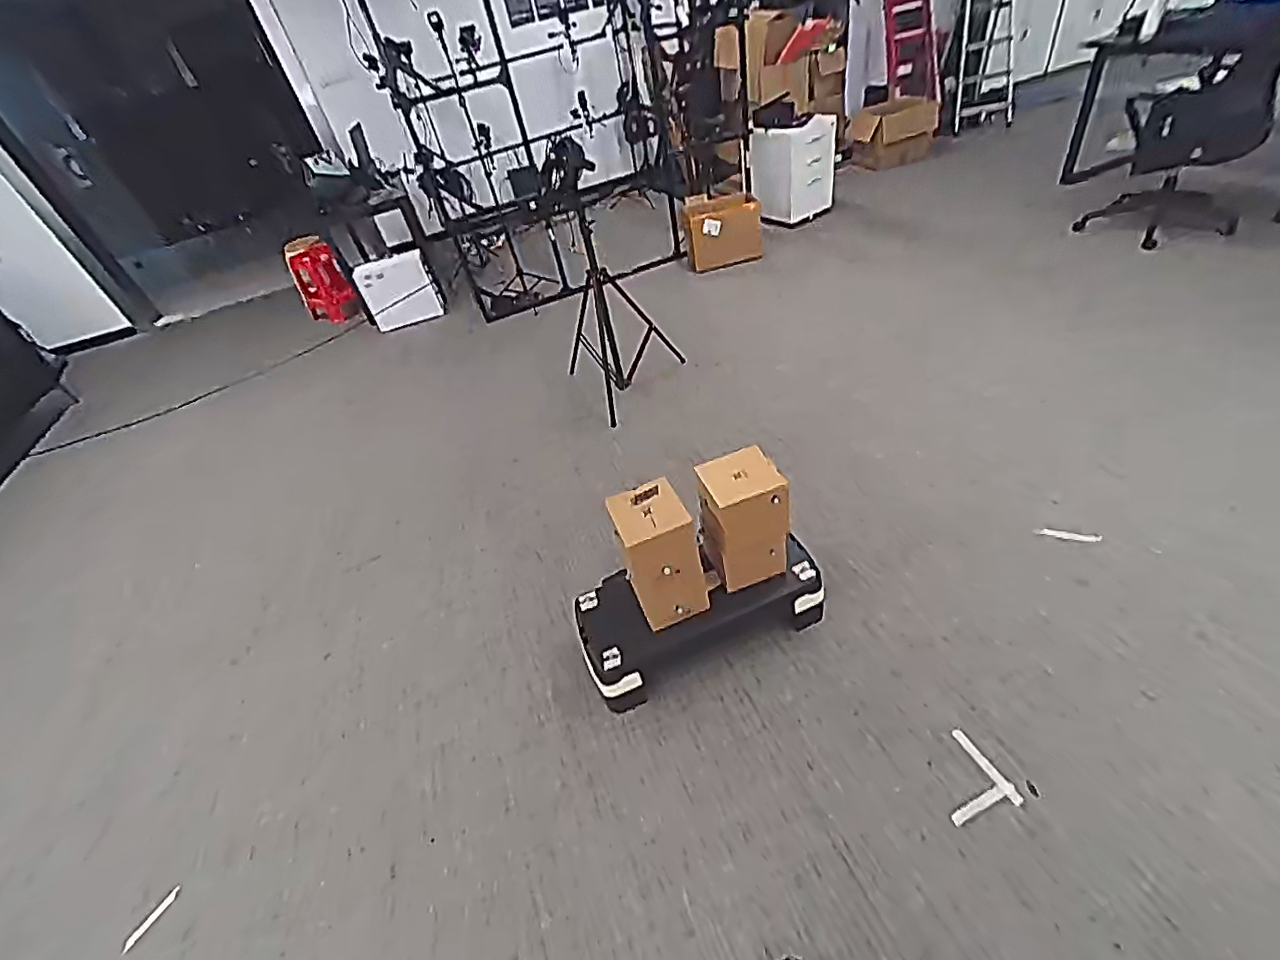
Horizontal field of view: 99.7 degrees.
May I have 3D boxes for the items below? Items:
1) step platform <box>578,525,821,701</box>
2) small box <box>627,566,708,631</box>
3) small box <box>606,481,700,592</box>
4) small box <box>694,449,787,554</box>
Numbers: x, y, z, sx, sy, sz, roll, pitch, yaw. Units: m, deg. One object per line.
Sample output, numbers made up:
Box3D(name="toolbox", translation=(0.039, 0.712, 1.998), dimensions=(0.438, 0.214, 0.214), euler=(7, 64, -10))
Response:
Box3D(name="step platform", translation=(0.168, 0.347, 1.557), dimensions=(0.684, 0.204, 0.286), euler=(-22, 41, -9))
Box3D(name="small box", translation=(0.066, 0.260, 1.419), dimensions=(0.168, 0.176, 0.179), euler=(-21, 41, -8))
Box3D(name="small box", translation=(0.032, 0.137, 1.314), dimensions=(0.168, 0.176, 0.179), euler=(-21, 41, -8))
Box3D(name="small box", translation=(0.254, 0.056, 1.347), dimensions=(0.179, 0.176, 0.168), euler=(-20, 41, -7))
